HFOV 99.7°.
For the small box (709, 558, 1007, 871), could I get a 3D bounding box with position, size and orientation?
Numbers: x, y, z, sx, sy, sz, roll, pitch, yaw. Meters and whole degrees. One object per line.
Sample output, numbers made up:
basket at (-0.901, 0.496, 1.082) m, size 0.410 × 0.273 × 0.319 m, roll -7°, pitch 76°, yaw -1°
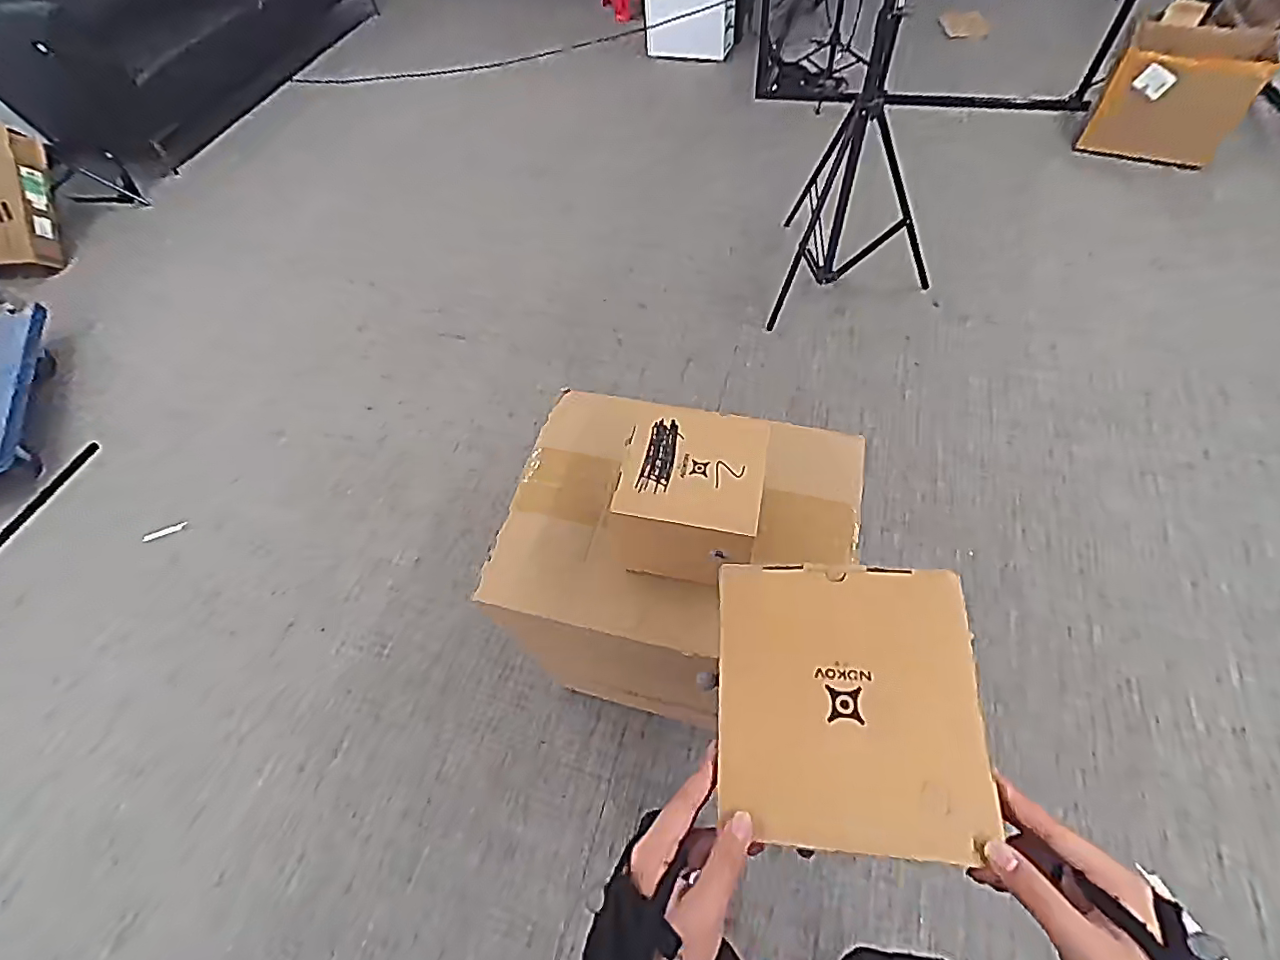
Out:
small box at (0.143, 0.170, 0.416) m, size 0.168 × 0.176 × 0.179 m, roll 0°, pitch 64°, yaw 10°
